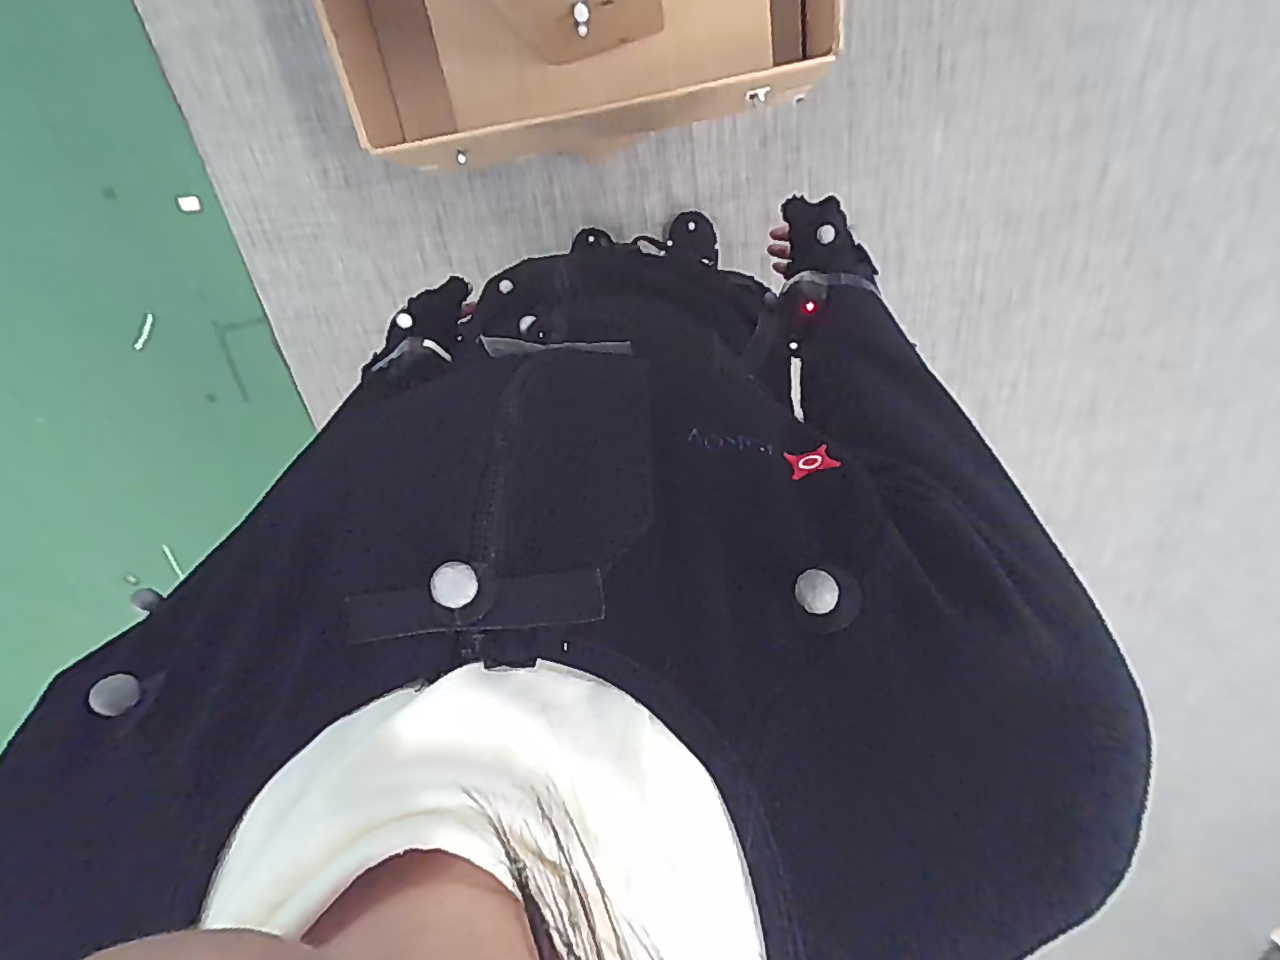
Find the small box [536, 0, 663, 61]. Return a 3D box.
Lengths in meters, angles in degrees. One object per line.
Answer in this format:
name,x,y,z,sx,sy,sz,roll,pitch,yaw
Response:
small box,-0.071,-0.652,0.653,0.168,0.176,0.179,-10,114,11
